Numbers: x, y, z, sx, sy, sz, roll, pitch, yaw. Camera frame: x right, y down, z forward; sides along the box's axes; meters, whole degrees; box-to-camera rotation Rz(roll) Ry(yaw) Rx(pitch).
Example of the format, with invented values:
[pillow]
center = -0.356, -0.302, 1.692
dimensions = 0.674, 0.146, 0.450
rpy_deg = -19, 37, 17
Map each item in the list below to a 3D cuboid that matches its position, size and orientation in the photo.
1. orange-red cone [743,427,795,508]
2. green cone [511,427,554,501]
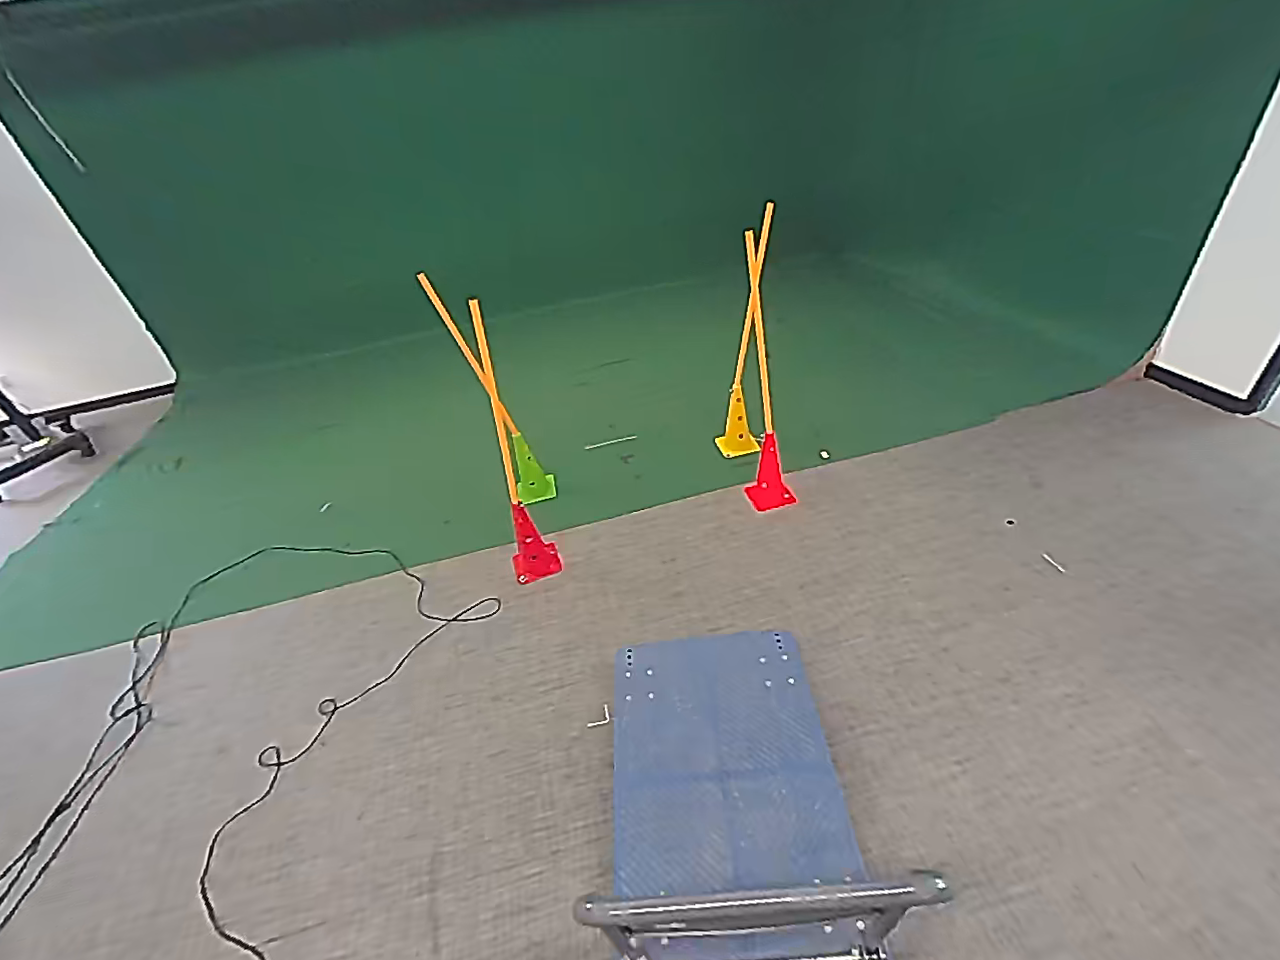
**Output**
[orange-red cone]
center = 0.580, -0.078, 2.436
dimensions = 0.198, 0.360, 0.199
rpy_deg = -13, 35, -6
[green cone]
center = -0.575, -0.101, 2.720
dimensions = 0.200, 0.368, 0.202
rpy_deg = -14, 36, -5
